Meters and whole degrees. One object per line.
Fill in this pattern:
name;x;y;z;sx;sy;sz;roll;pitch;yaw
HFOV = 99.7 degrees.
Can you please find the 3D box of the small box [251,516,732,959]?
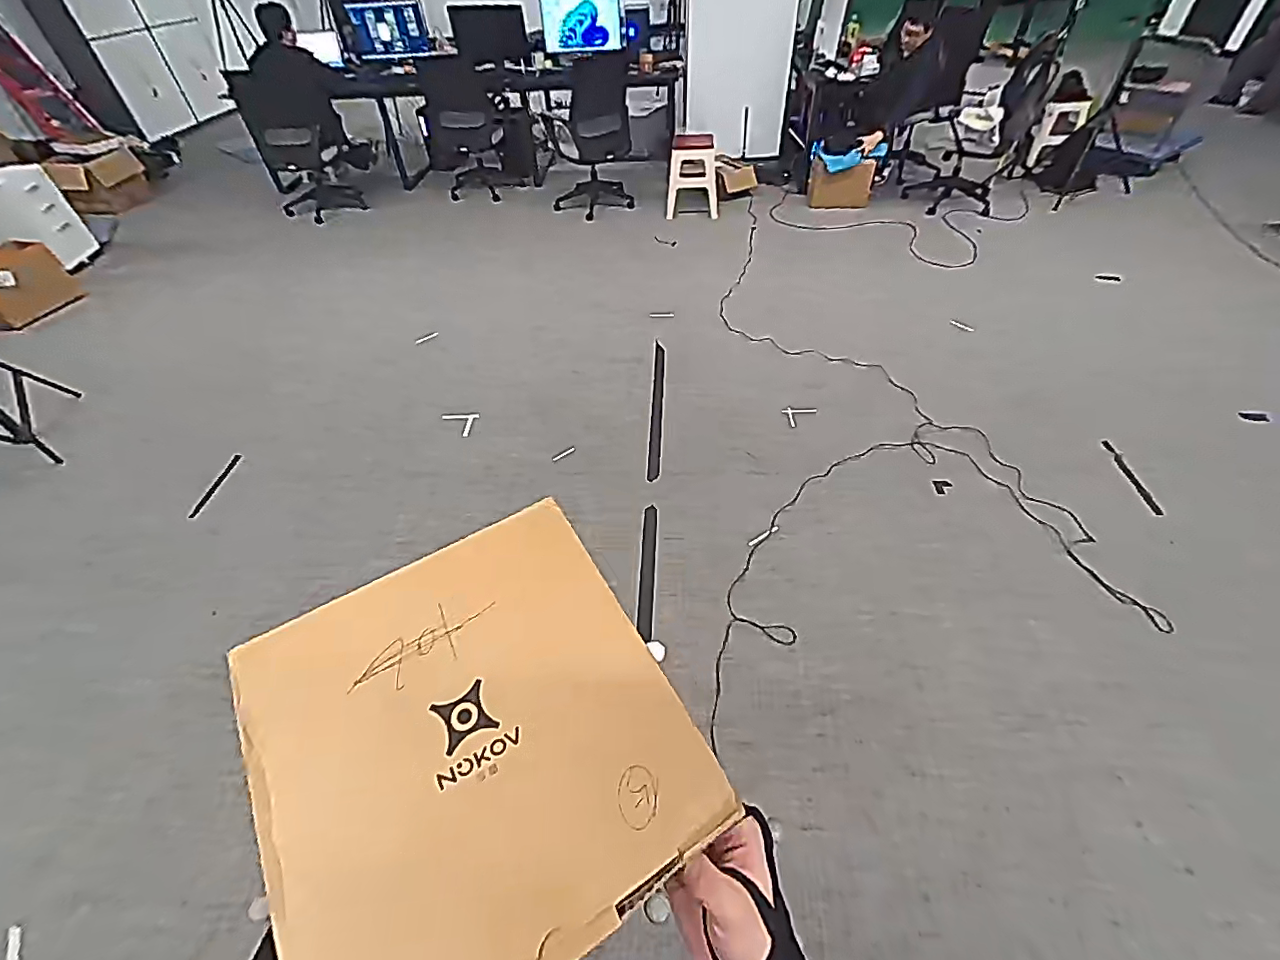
small box;-0.073;0.159;0.306;0.168;0.176;0.179;-26;58;-20
